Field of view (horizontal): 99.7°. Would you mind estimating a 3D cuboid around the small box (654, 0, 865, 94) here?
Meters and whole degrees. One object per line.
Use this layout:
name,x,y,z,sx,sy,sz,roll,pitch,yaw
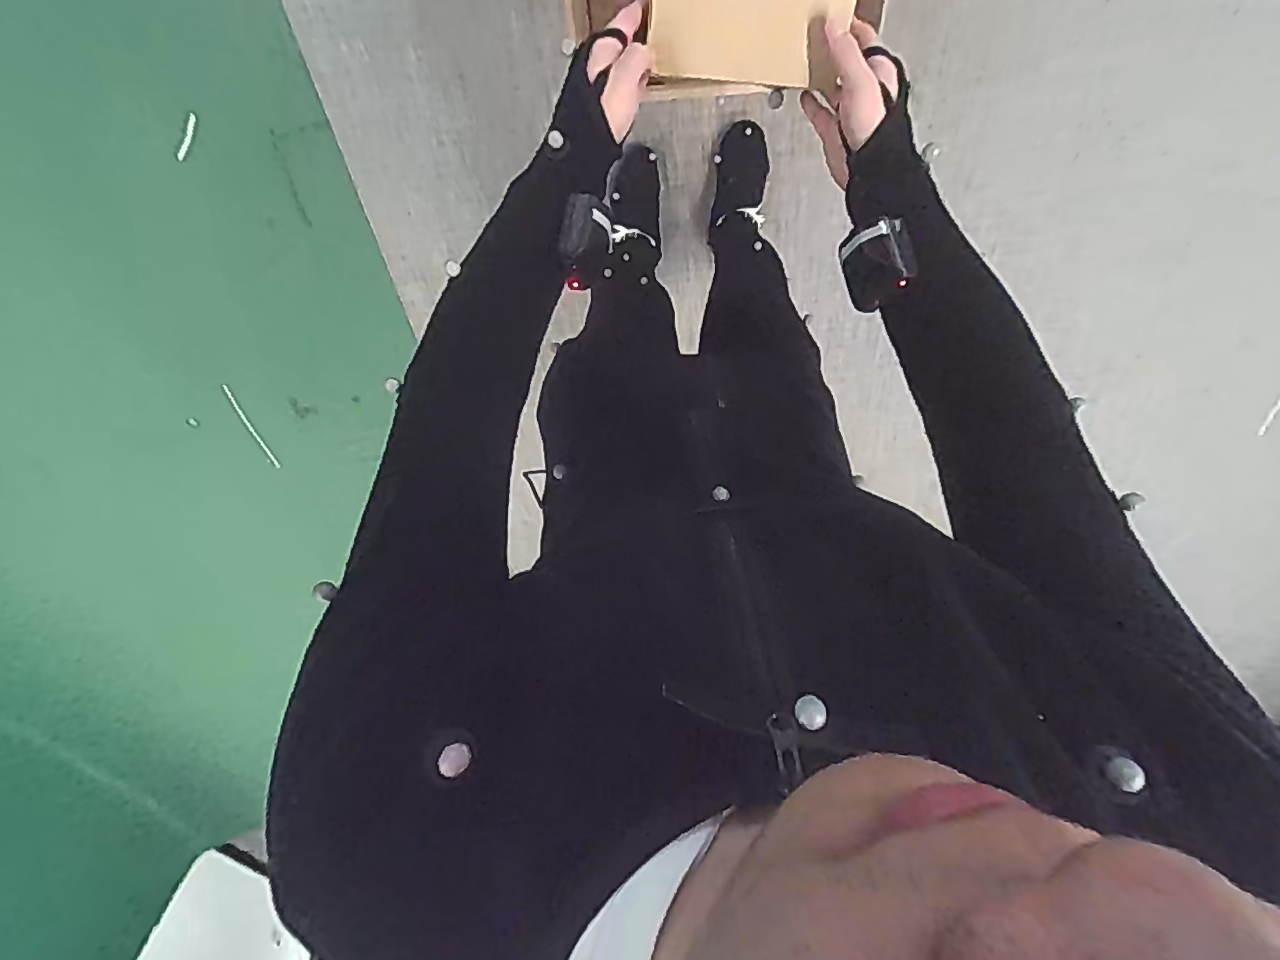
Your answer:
small box,0.108,-0.475,0.506,0.179,0.176,0.168,5,126,-1
